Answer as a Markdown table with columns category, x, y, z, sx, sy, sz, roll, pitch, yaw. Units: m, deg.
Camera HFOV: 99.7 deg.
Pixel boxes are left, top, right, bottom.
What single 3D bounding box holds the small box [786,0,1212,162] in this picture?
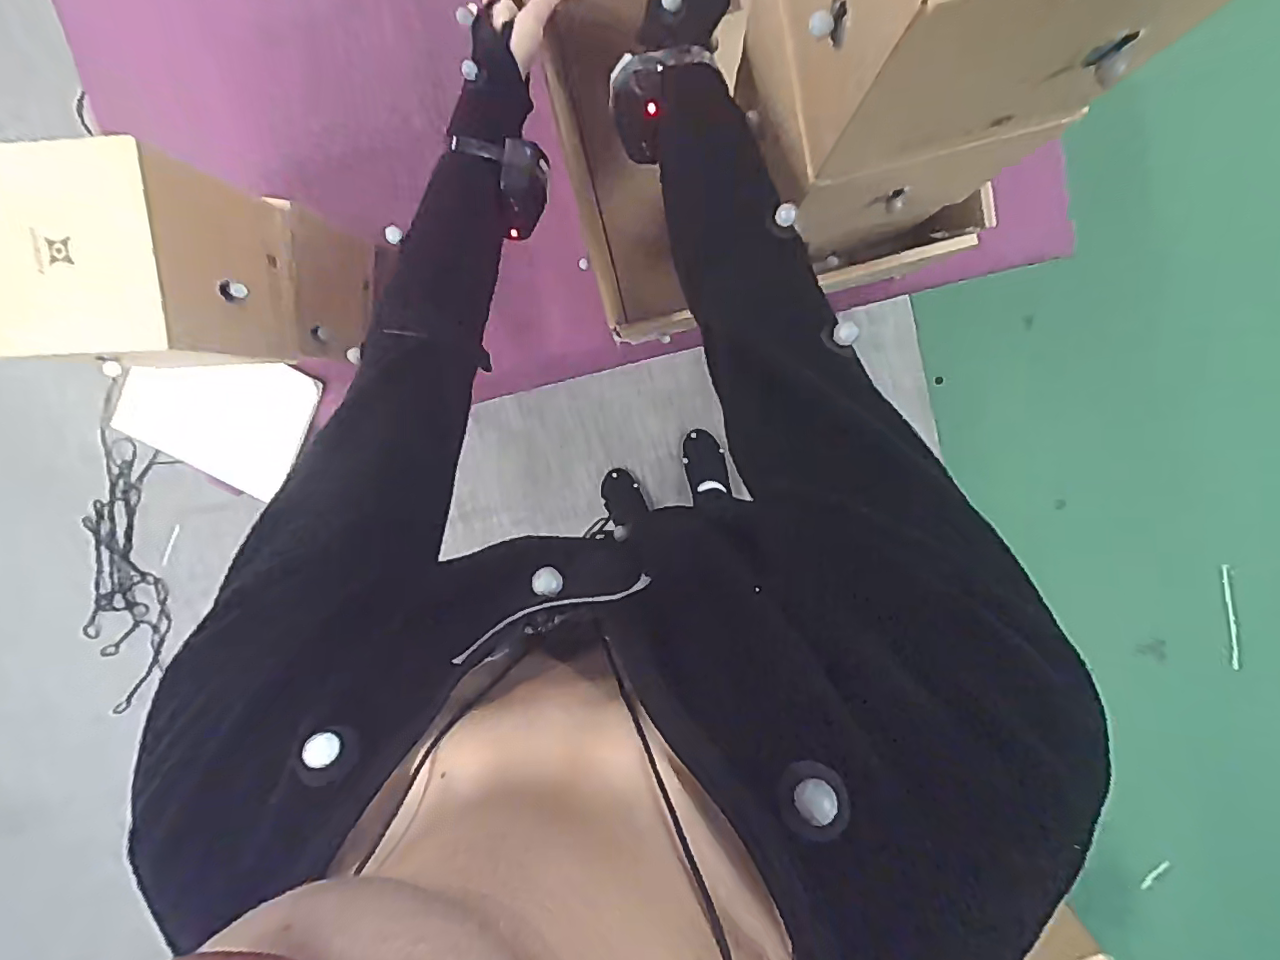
| category | x | y | z | sx | sy | sz | roll | pitch | yaw |
| --- | --- | --- | --- | --- | --- | --- | --- | --- | --- |
| small box | 0.169 | -0.280 | 0.255 | 0.168 | 0.176 | 0.179 | -11 | 97 | 6 |

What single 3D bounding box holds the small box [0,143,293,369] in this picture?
| category | x | y | z | sx | sy | sz | roll | pitch | yaw |
| --- | --- | --- | --- | --- | --- | --- | --- | --- | --- |
| small box | -0.467 | -0.195 | 0.519 | 0.179 | 0.176 | 0.168 | -1 | 99 | 4 |

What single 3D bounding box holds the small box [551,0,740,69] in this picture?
| category | x | y | z | sx | sy | sz | roll | pitch | yaw |
| --- | --- | --- | --- | --- | --- | --- | --- | --- | --- |
| small box | -0.004 | -0.549 | 0.521 | 0.168 | 0.176 | 0.179 | -9 | 108 | 19 |

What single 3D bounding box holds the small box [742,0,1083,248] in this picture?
| category | x | y | z | sx | sy | sz | roll | pitch | yaw |
| --- | --- | --- | --- | --- | --- | --- | --- | --- | --- |
| small box | 0.185 | -0.300 | 0.416 | 0.179 | 0.176 | 0.168 | -11 | 98 | 7 |
